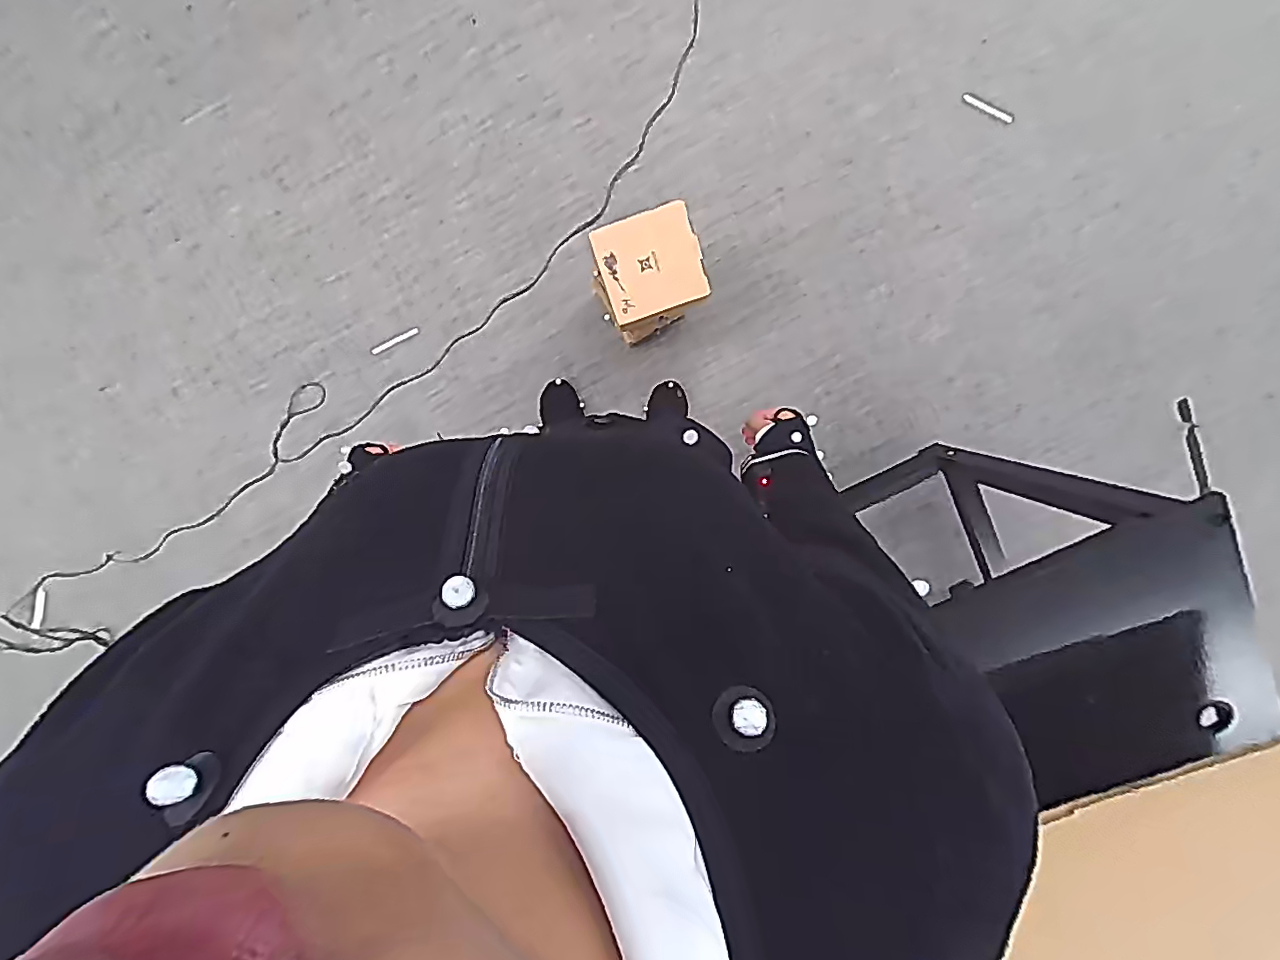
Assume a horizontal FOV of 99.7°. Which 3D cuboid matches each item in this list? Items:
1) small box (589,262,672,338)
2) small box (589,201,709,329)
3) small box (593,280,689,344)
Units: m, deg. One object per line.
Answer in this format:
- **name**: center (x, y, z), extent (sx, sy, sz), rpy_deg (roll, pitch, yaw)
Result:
- **small box**: center (0.007, -0.427, 1.180), extent (0.179, 0.176, 0.168), rpy_deg (-33, 101, 4)
- **small box**: center (0.012, -0.394, 1.019), extent (0.179, 0.176, 0.168), rpy_deg (-19, 101, 1)
- **small box**: center (0.000, -0.452, 1.340), extent (0.179, 0.176, 0.168), rpy_deg (-29, 100, 5)
